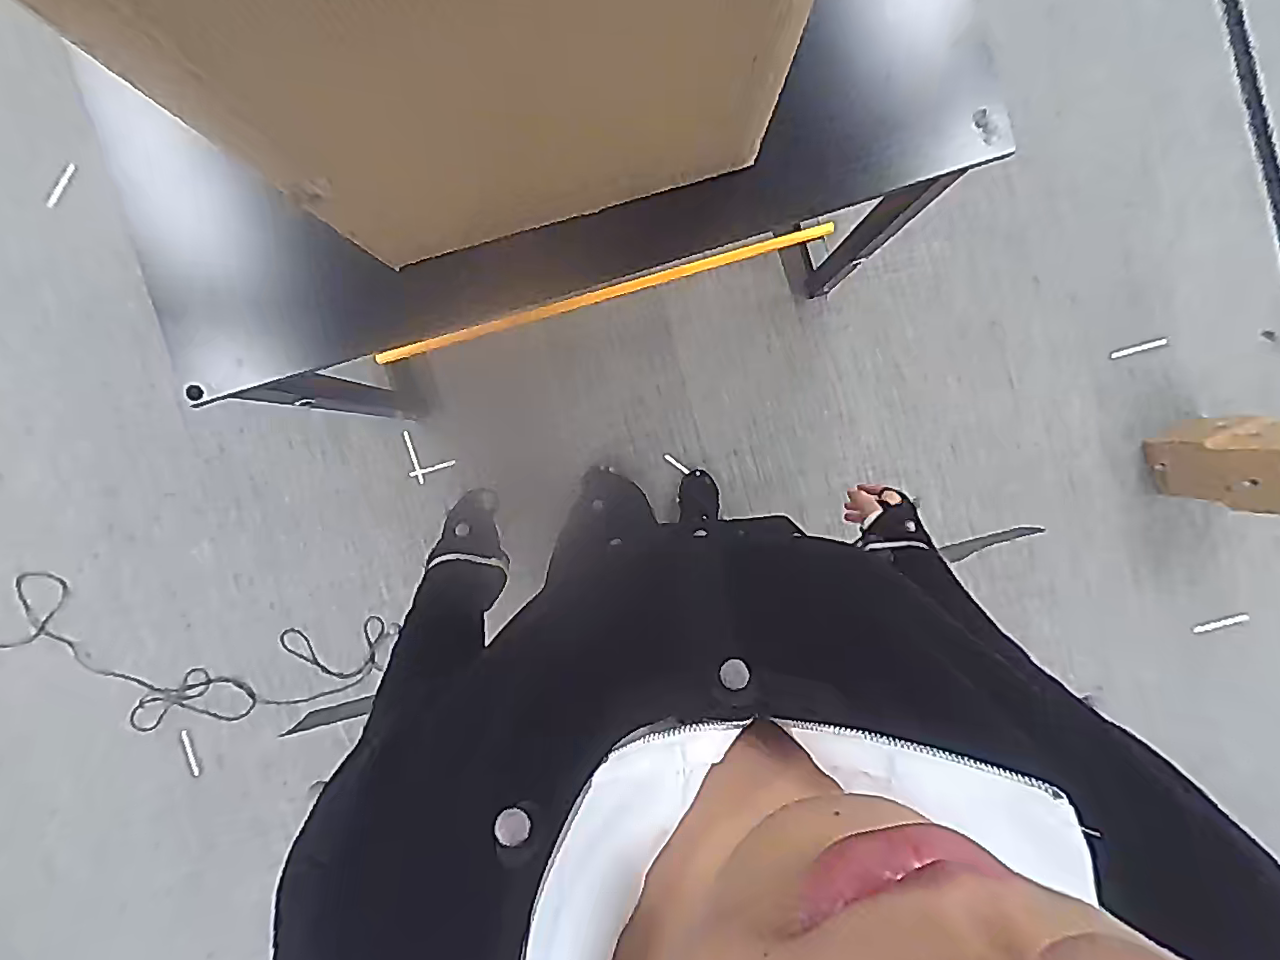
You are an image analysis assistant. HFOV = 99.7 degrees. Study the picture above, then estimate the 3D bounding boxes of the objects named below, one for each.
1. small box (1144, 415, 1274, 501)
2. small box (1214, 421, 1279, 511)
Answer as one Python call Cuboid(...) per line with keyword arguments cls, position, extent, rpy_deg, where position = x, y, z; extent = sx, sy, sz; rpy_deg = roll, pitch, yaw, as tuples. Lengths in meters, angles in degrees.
Cuboid(cls="small box", position=(1.477, -0.059, 1.393), extent=(0.179, 0.176, 0.168), rpy_deg=(-22, 92, 3))
Cuboid(cls="small box", position=(1.479, -0.033, 1.230), extent=(0.179, 0.176, 0.168), rpy_deg=(-23, 92, 2))
